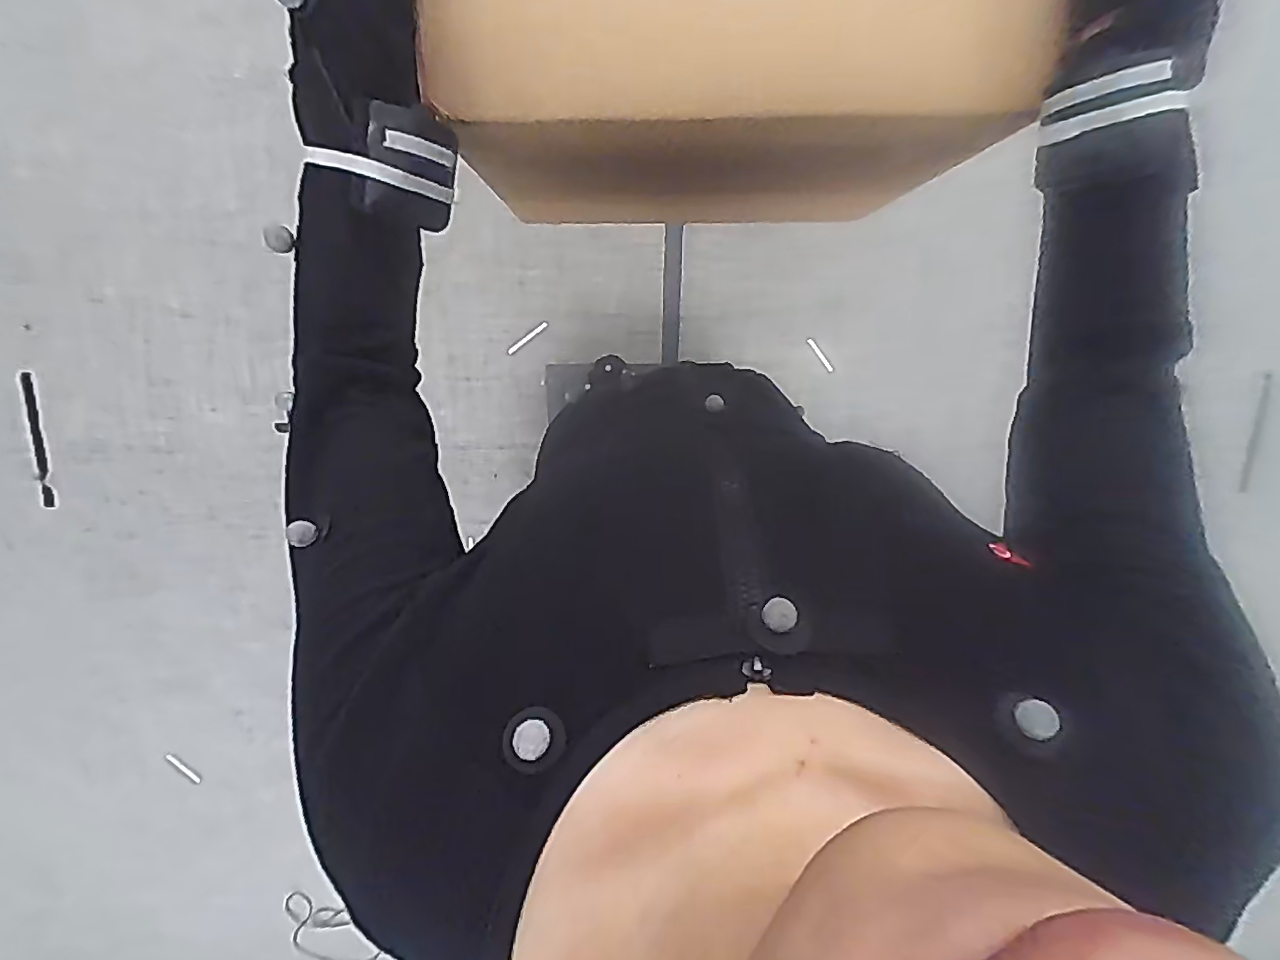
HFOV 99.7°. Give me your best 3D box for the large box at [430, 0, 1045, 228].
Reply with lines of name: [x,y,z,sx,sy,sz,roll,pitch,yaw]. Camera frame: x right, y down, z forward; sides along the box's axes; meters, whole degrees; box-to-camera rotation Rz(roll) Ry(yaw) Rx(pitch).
large box: [0.057,-0.425,0.472,0.408,0.320,0.320,-1,104,-1]
